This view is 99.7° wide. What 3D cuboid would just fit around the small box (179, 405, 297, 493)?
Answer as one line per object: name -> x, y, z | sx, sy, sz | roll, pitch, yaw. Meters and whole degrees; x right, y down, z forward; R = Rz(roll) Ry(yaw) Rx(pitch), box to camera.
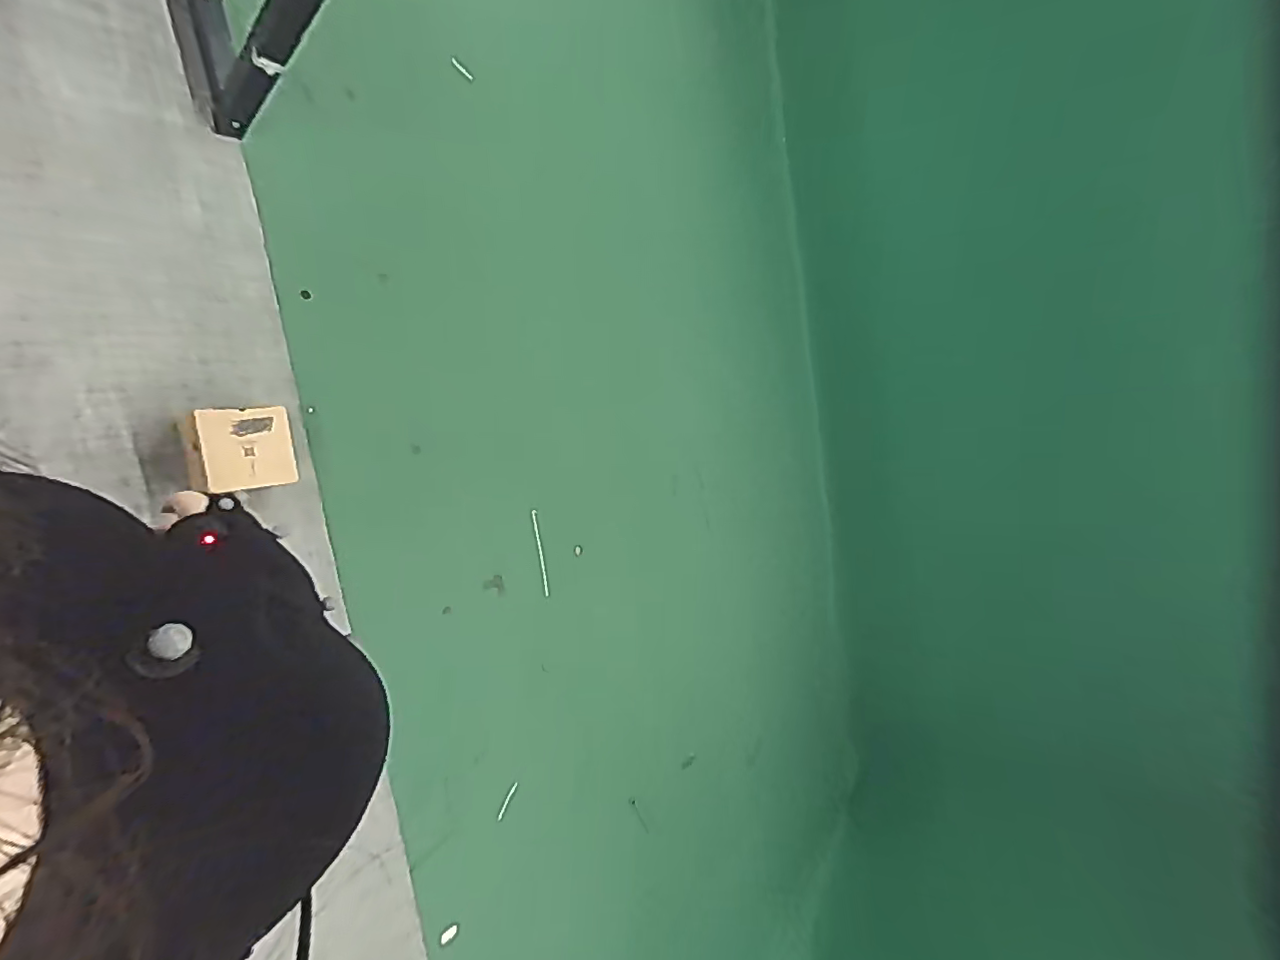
small box -> -0.891, -0.068, 1.198 | 0.168, 0.176, 0.179 | -12, 98, -48
